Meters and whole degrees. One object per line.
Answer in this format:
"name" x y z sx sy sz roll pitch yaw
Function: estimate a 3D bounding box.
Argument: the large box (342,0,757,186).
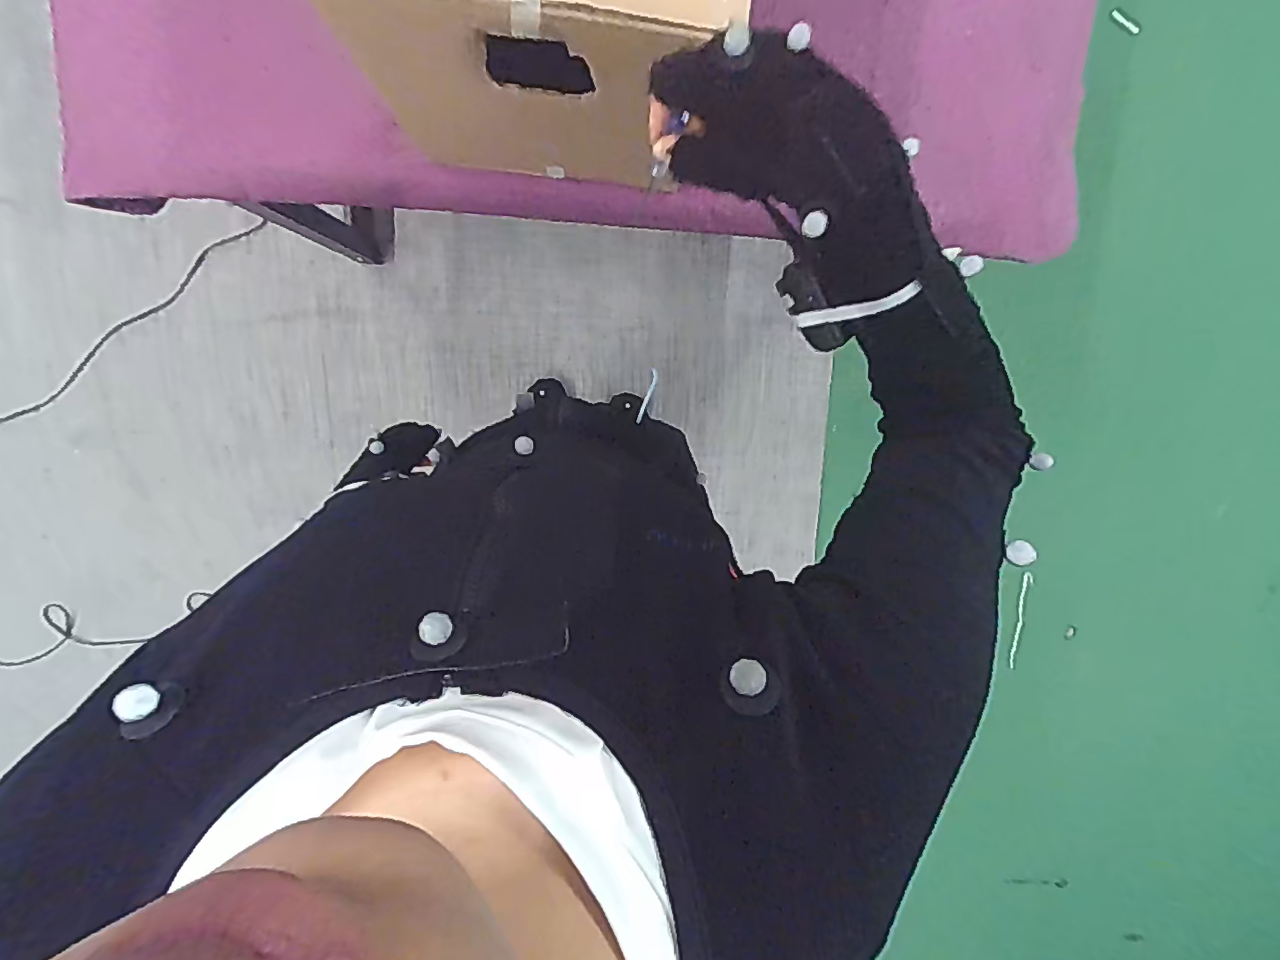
"large box" -0.065 -0.555 0.501 0.320 0.320 0.408 5 101 -5
